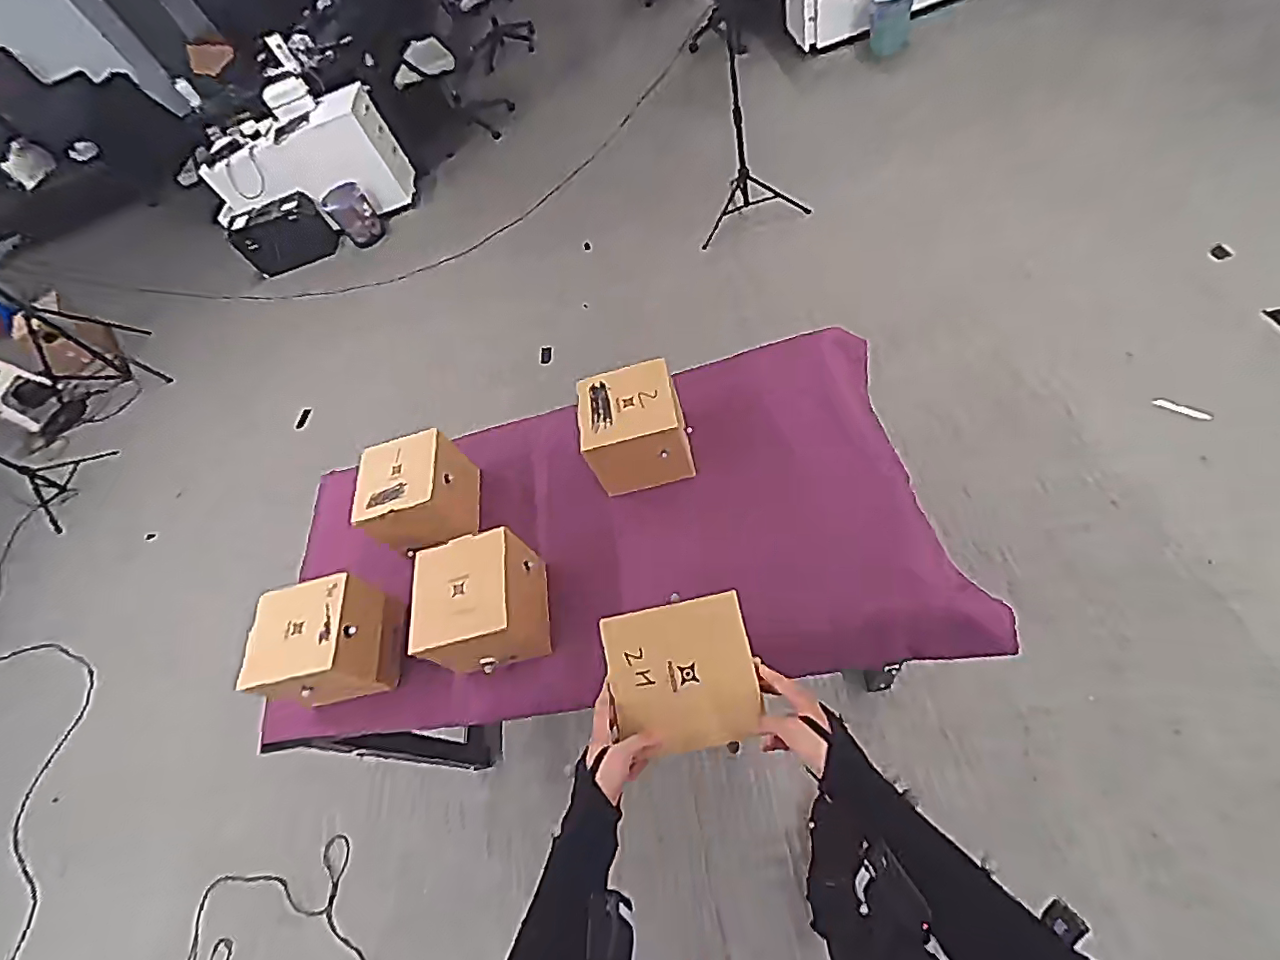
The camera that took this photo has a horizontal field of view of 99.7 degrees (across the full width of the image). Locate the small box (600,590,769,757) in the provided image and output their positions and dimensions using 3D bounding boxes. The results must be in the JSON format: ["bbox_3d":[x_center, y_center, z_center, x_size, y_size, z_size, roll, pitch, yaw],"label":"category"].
[{"bbox_3d":[0.058,0.250,0.720,0.179,0.176,0.168,-13,71,4],"label":"small box"}]

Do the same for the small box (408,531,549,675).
[{"bbox_3d":[-0.266,0.215,0.921,0.168,0.176,0.179,-16,58,8],"label":"small box"}]

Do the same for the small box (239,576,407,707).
[{"bbox_3d":[-0.549,0.293,0.961,0.179,0.176,0.168,-15,57,9],"label":"small box"}]

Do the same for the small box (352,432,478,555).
[{"bbox_3d":[-0.441,0.037,1.086,0.168,0.176,0.179,-16,56,8],"label":"small box"}]
